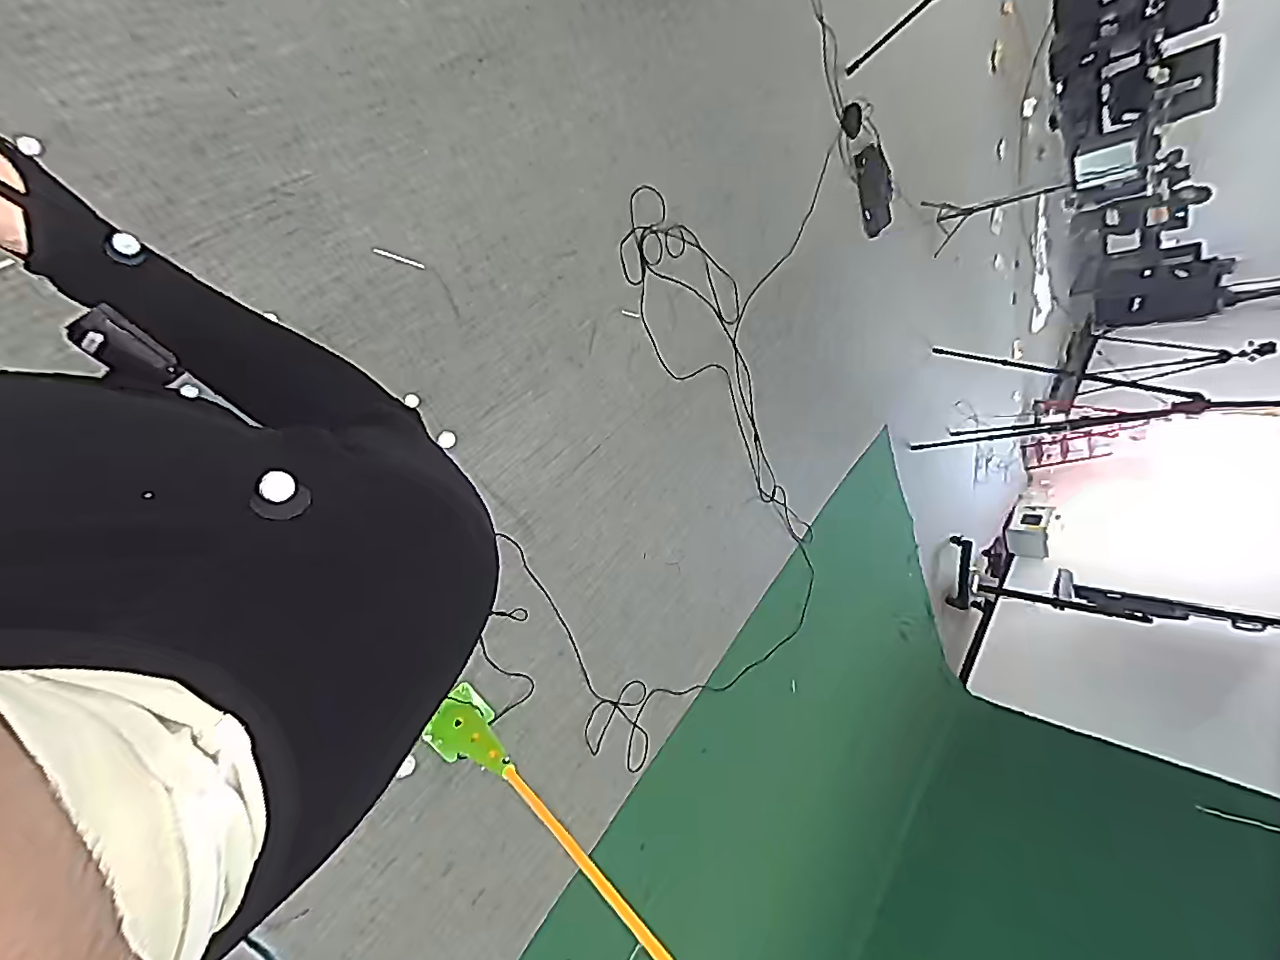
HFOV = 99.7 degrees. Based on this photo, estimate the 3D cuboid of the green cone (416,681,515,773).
[{"bbox_3d":[-0.498,0.810,1.668,0.202,0.368,0.200,-46,123,-31],"label":"green cone"}]
